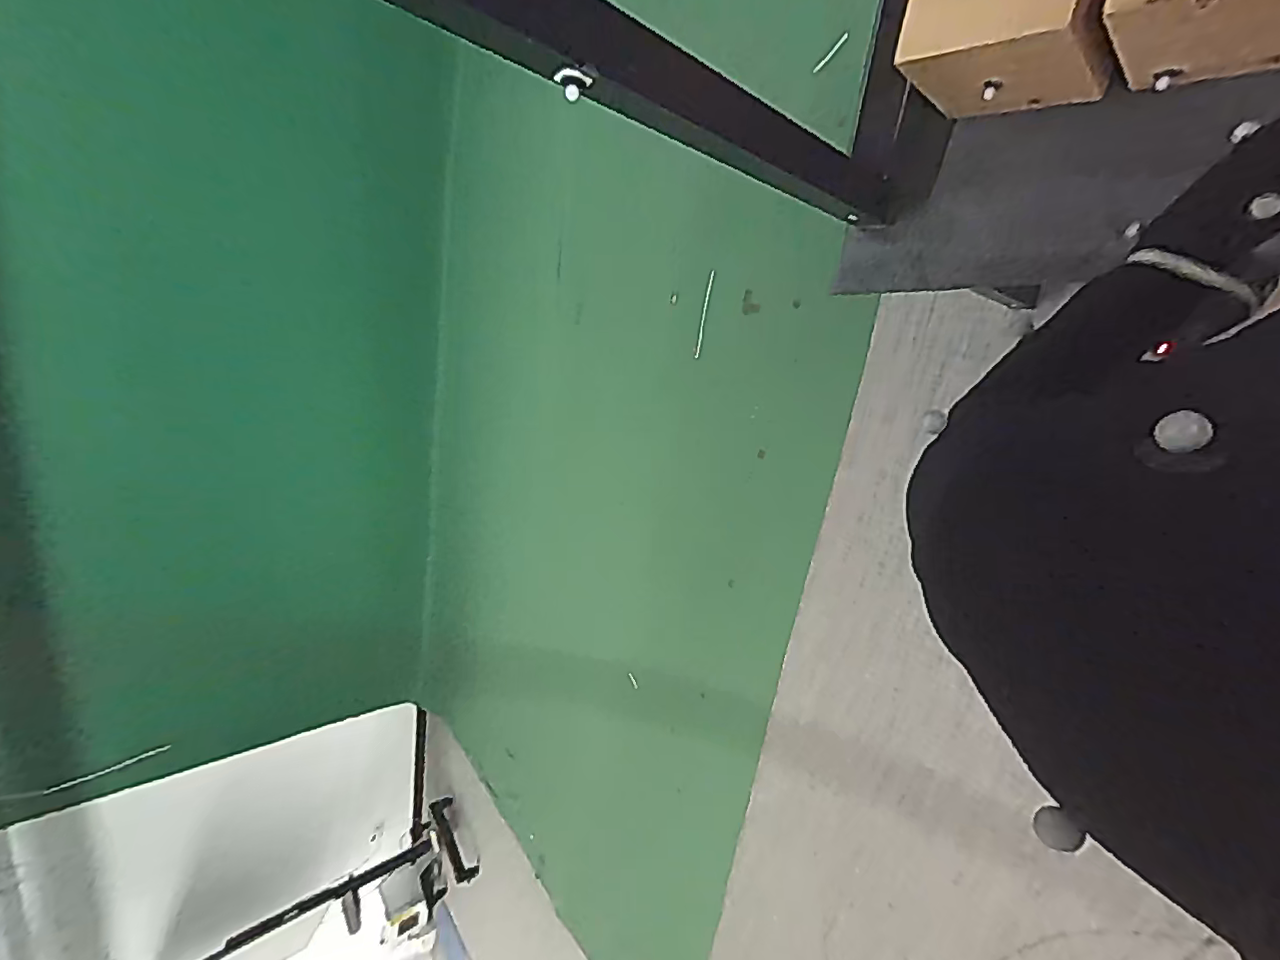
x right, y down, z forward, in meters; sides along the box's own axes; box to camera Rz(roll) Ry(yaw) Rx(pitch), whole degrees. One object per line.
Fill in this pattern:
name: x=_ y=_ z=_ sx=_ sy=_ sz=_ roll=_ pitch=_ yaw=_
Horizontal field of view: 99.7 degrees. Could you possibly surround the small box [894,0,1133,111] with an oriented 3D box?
small box: x=0.405 y=-0.517 z=0.568 sx=0.168 sy=0.176 sz=0.179 roll=27 pitch=114 yaw=43
